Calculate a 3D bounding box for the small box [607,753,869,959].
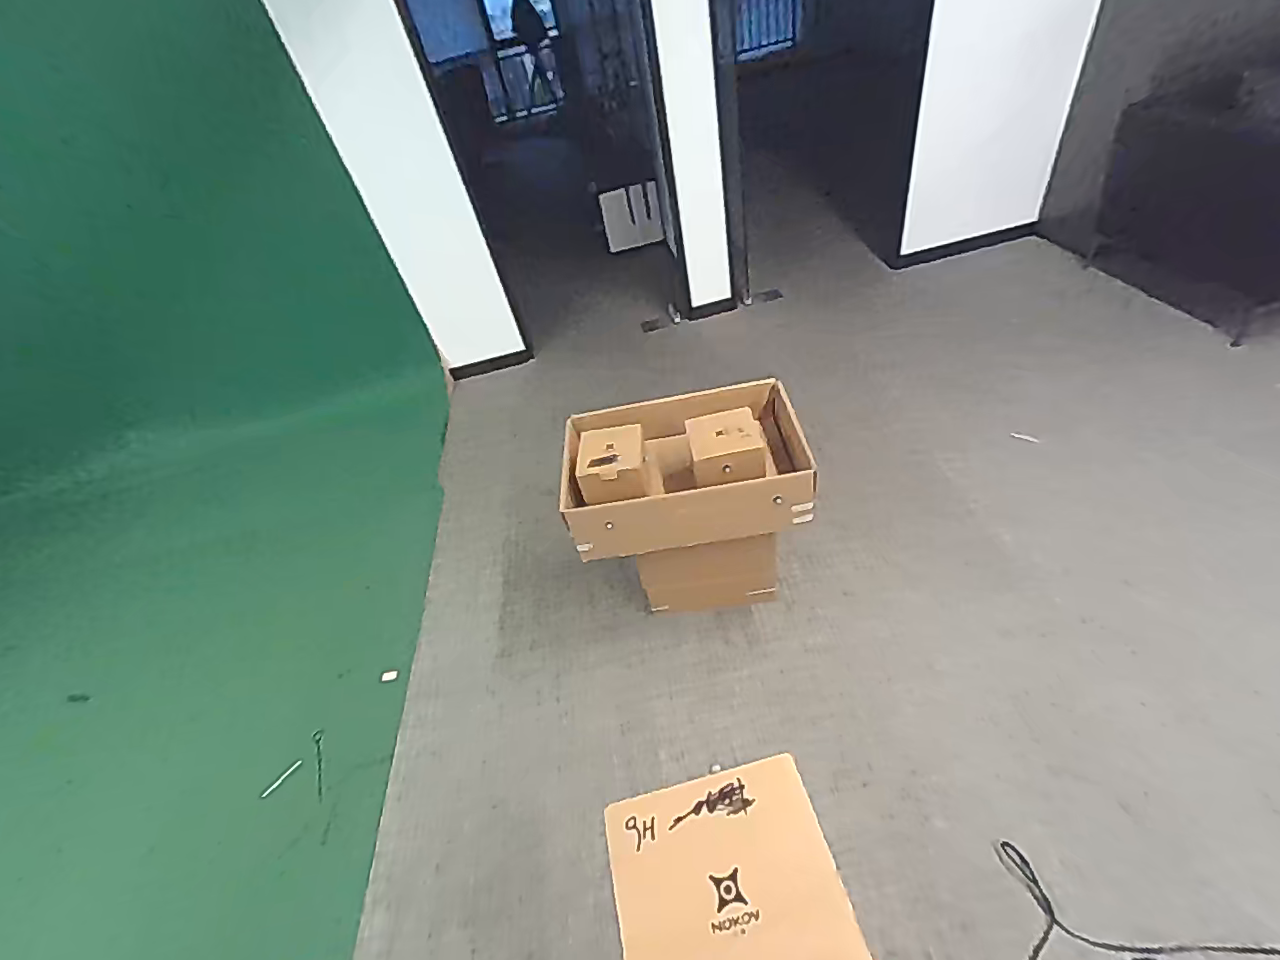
[{"bbox_3d":[0.080,0.362,0.449,0.168,0.176,0.179,-15,44,-2],"label":"small box"}]
